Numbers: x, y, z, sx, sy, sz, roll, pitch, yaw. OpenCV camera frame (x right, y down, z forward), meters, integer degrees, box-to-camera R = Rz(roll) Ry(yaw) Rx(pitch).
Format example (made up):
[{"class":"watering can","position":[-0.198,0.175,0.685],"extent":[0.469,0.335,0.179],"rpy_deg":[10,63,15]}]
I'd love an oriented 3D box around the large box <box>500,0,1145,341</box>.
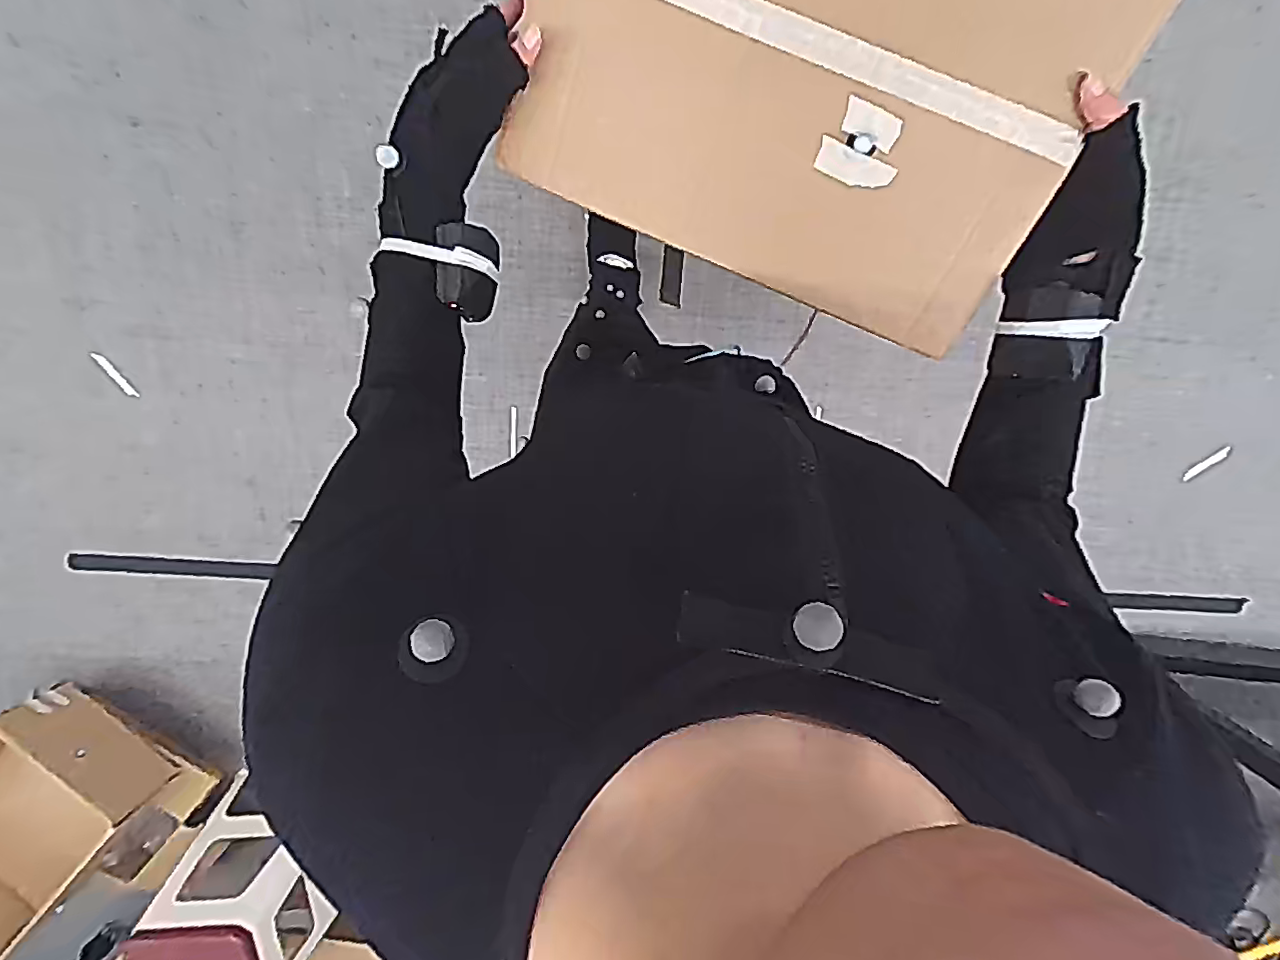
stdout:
[{"class":"large box","position":[0.136,-0.375,0.519],"extent":[0.408,0.320,0.320],"rpy_deg":[22,117,-1]}]
